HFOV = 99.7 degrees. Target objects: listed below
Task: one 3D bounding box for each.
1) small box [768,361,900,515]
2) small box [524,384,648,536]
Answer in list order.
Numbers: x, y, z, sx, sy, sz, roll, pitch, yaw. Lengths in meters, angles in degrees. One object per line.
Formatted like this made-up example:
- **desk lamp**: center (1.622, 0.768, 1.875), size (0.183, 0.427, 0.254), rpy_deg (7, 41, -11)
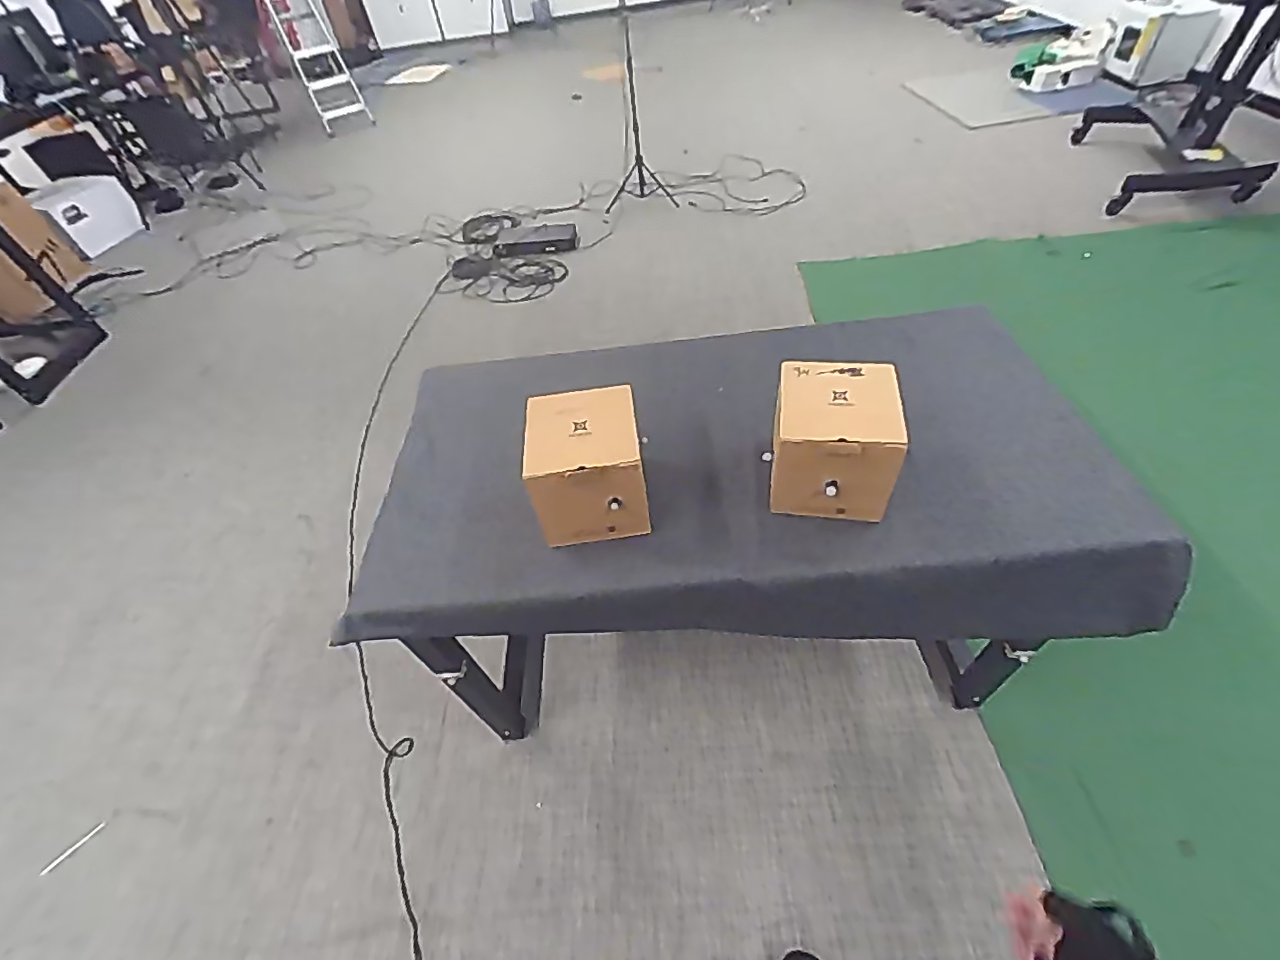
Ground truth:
- **small box**: center (0.291, -0.064, 0.844), size (0.168, 0.176, 0.179), rpy_deg (5, 50, 11)
- **small box**: center (-0.081, -0.026, 0.861), size (0.168, 0.176, 0.179), rpy_deg (-7, 46, -1)
